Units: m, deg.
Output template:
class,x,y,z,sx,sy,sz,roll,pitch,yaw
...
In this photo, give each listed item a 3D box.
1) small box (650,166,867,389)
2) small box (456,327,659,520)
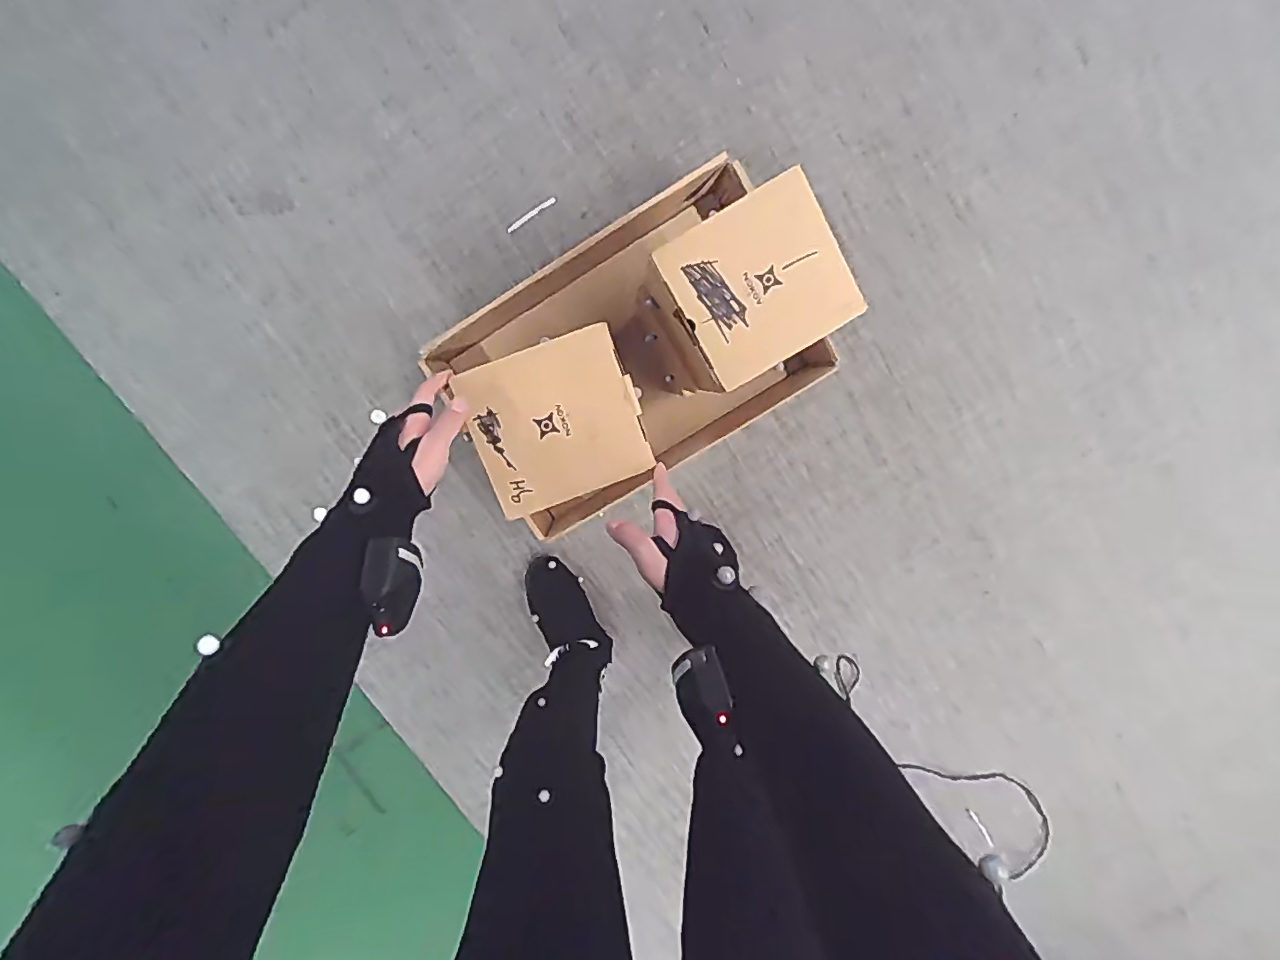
class,x,y,z,sx,sy,sz,roll,pitch,yaw
small box,0.124,-0.219,0.638,0.179,0.176,0.168,-30,101,4
small box,-0.093,-0.073,0.653,0.179,0.176,0.168,-20,100,-1
